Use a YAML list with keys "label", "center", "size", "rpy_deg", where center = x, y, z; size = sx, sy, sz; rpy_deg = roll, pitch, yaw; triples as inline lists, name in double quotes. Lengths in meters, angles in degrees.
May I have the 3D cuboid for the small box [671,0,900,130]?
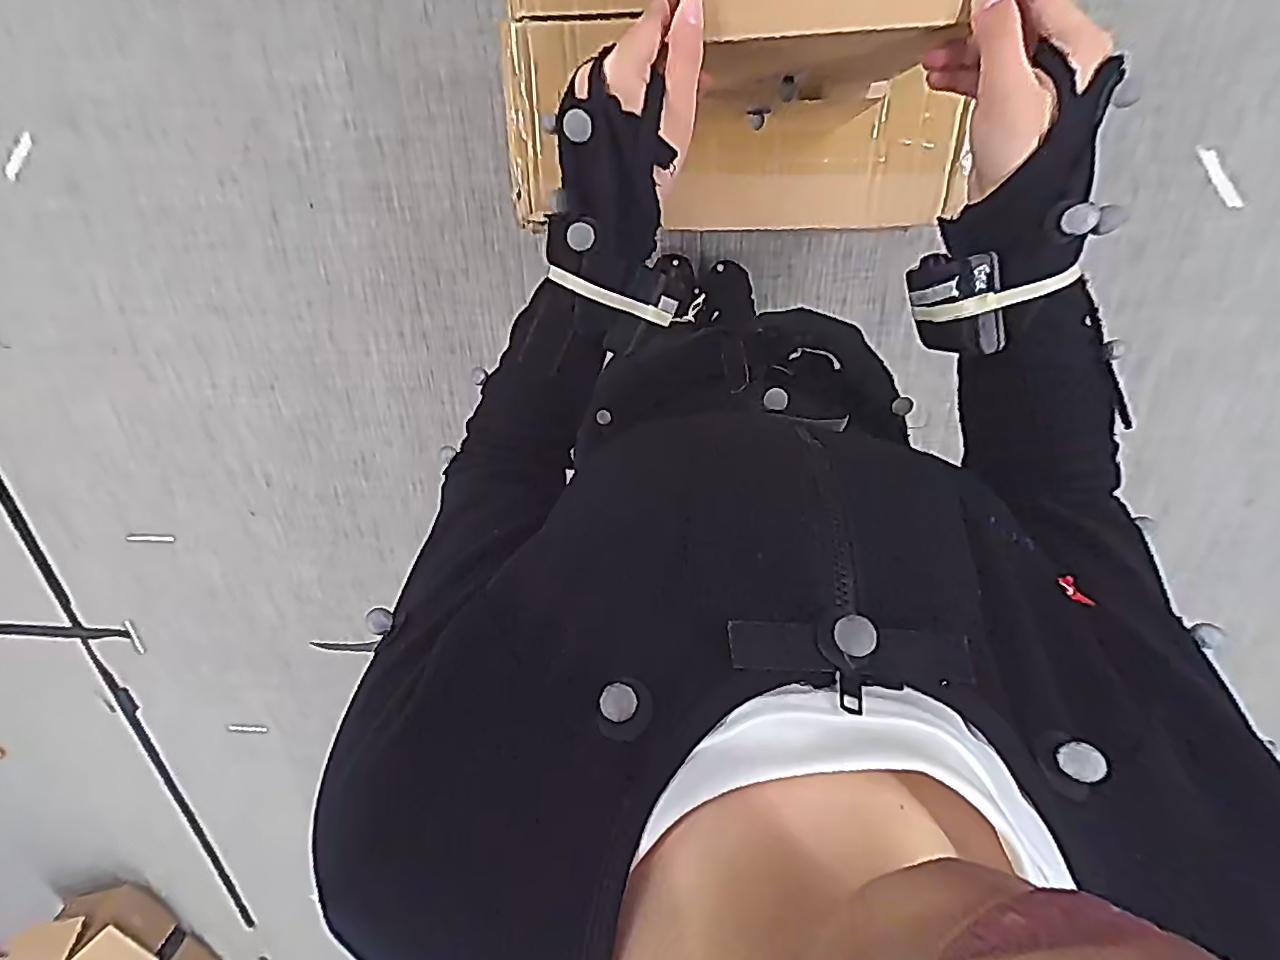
- label: "small box"
  center: [0.119, -0.423, 0.483]
  size: [0.179, 0.176, 0.168]
  rpy_deg: [1, 115, 4]
